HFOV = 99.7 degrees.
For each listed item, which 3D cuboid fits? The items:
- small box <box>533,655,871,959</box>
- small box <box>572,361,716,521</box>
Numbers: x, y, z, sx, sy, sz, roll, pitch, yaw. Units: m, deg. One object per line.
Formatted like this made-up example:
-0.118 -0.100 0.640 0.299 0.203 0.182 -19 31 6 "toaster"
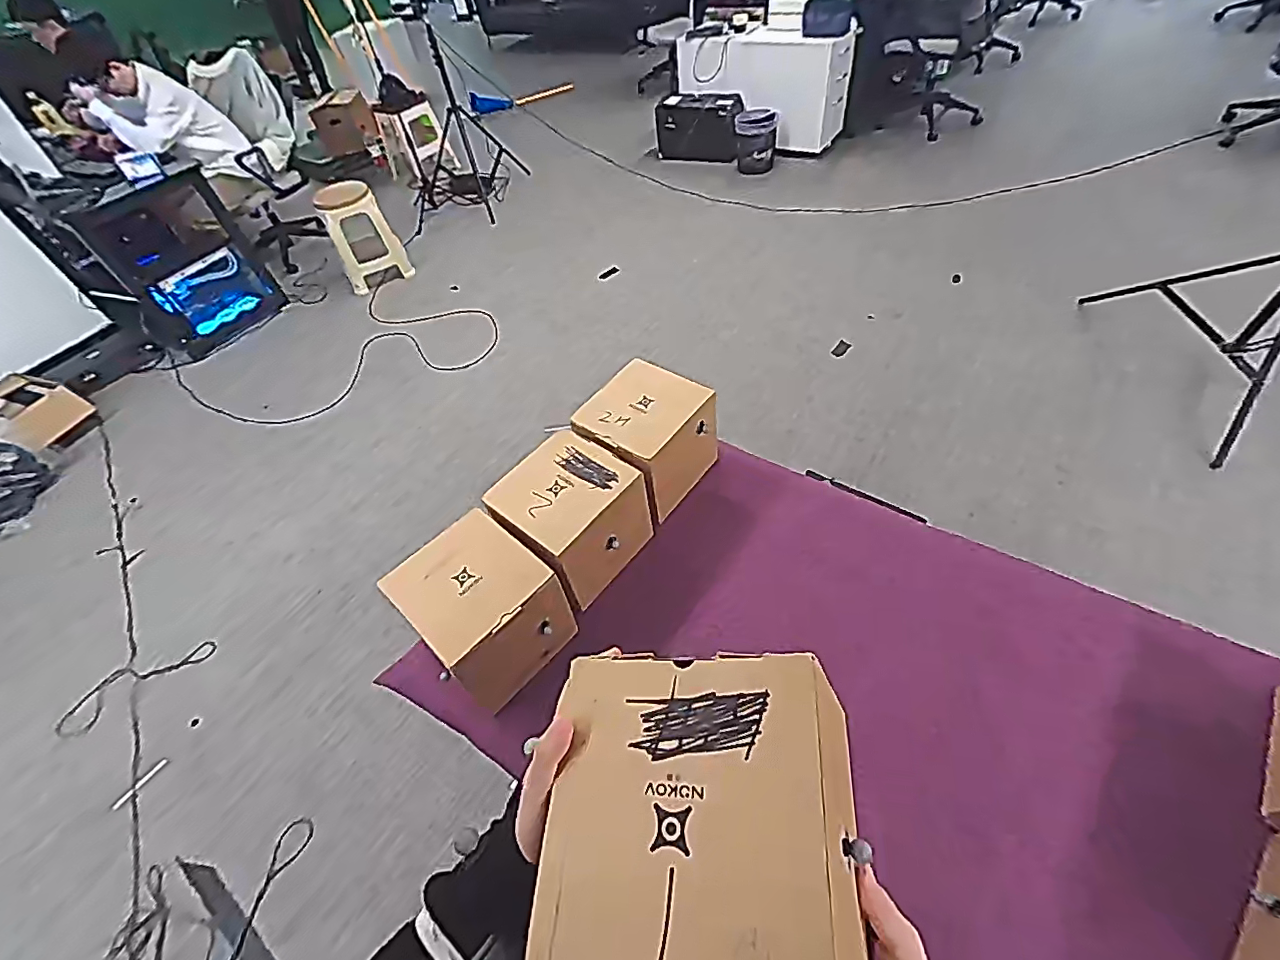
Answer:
0.055 0.232 0.367 0.168 0.176 0.179 -9 54 22 "small box"
0.013 -0.066 0.918 0.168 0.176 0.179 29 61 28 "small box"
